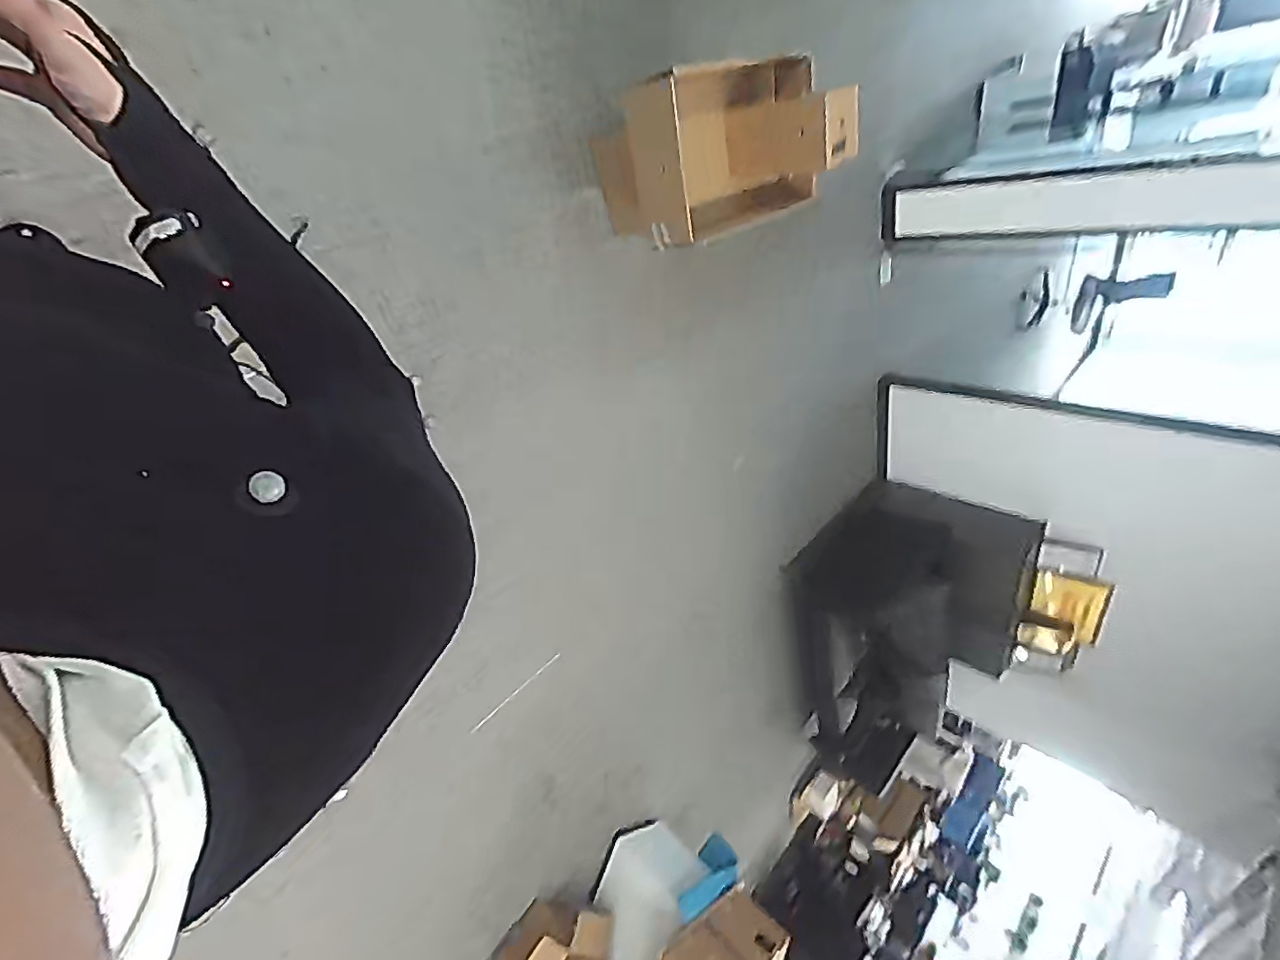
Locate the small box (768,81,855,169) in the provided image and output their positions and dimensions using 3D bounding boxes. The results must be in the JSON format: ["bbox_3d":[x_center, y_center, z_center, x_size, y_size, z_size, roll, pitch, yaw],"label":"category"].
[{"bbox_3d":[0.472,-0.975,1.496,0.168,0.176,0.179,-36,128,-29],"label":"small box"}]

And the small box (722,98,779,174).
[{"bbox_3d":[0.363,-1.025,1.609,0.168,0.176,0.179,-34,129,-30],"label":"small box"}]
